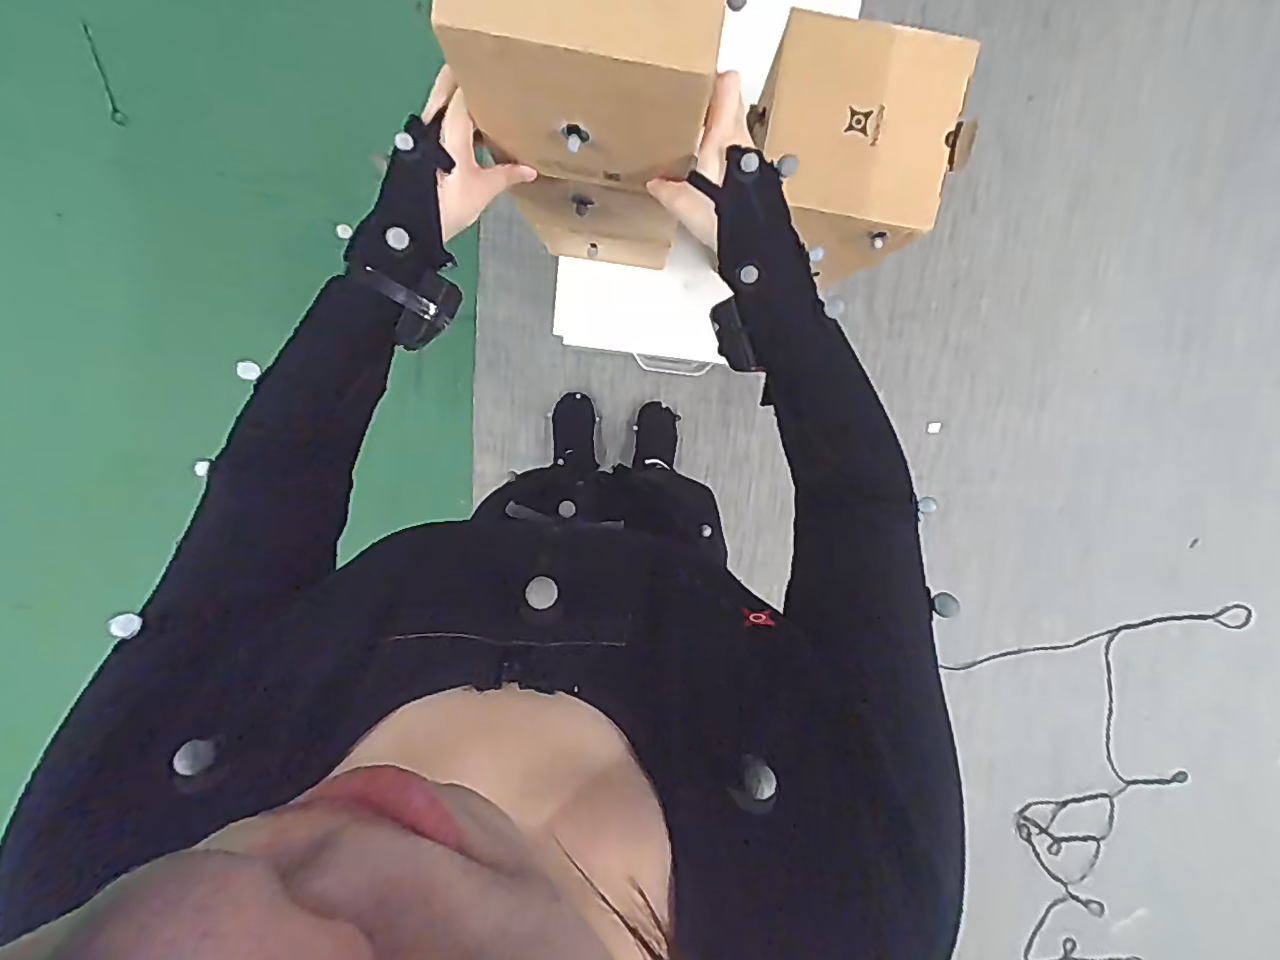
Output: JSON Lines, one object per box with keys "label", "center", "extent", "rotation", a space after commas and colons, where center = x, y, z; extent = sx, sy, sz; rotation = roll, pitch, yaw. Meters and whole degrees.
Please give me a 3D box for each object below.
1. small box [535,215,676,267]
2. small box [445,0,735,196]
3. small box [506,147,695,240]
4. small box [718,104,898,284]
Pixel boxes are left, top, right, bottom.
{"label": "small box", "center": [-0.032, -0.394, 0.728], "extent": [0.179, 0.176, 0.168], "rotation": [7, 102, -2]}
{"label": "small box", "center": [-0.022, -0.333, 0.384], "extent": [0.168, 0.176, 0.179], "rotation": [9, 94, -4]}
{"label": "small box", "center": [-0.030, -0.364, 0.566], "extent": [0.179, 0.176, 0.168], "rotation": [6, 102, -4]}
{"label": "small box", "center": [0.213, -0.371, 0.735], "extent": [0.179, 0.176, 0.168], "rotation": [8, 101, 0]}
